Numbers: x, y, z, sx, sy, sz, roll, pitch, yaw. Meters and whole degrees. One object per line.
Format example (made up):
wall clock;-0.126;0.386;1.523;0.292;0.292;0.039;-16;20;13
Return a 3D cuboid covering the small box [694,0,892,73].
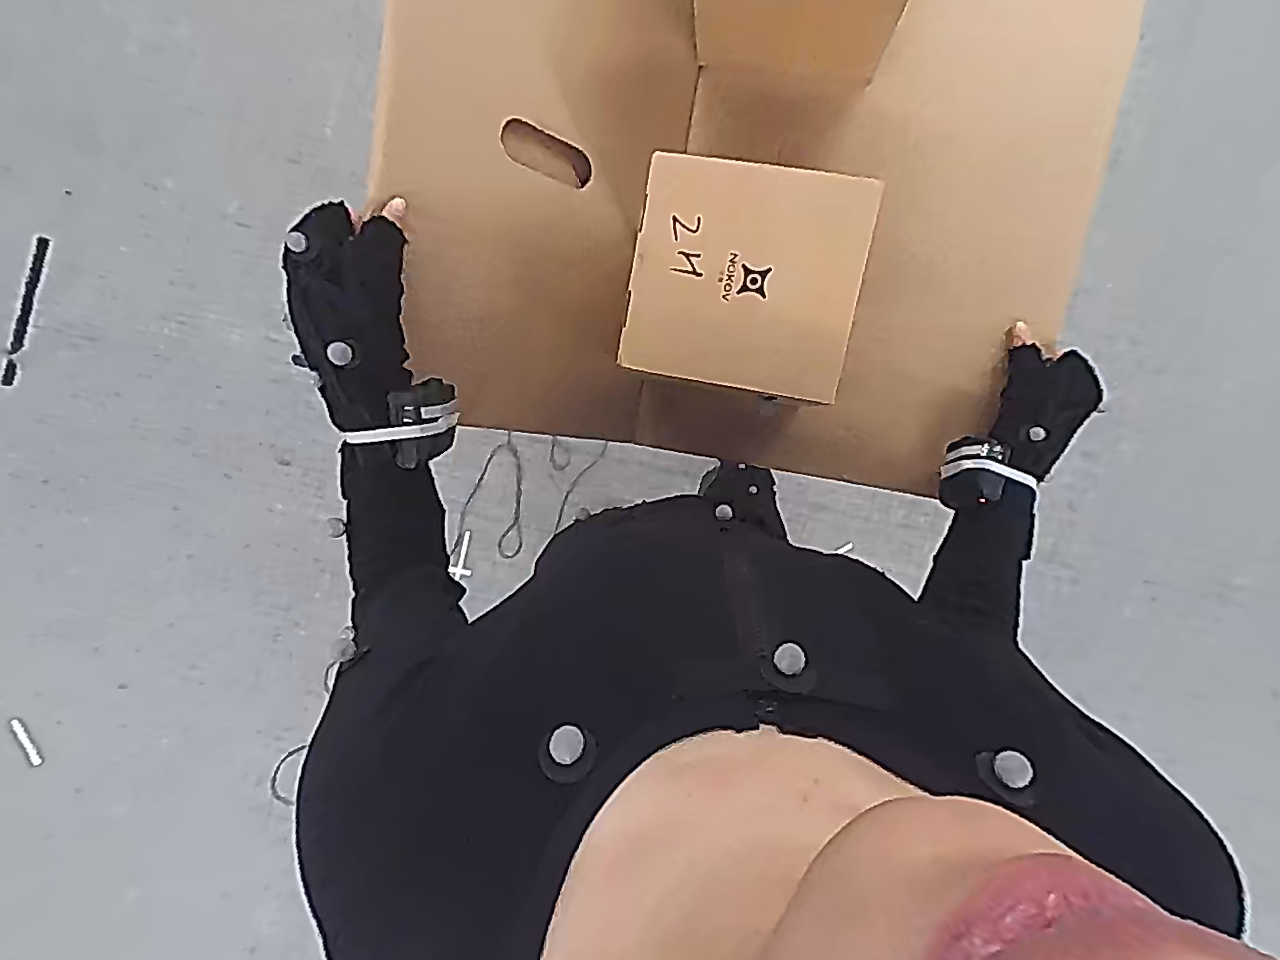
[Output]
small box;0.141;-0.487;0.460;0.179;0.176;0.168;10;98;6

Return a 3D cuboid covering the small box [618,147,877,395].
small box;0.091;-0.175;0.504;0.179;0.176;0.168;12;98;7
